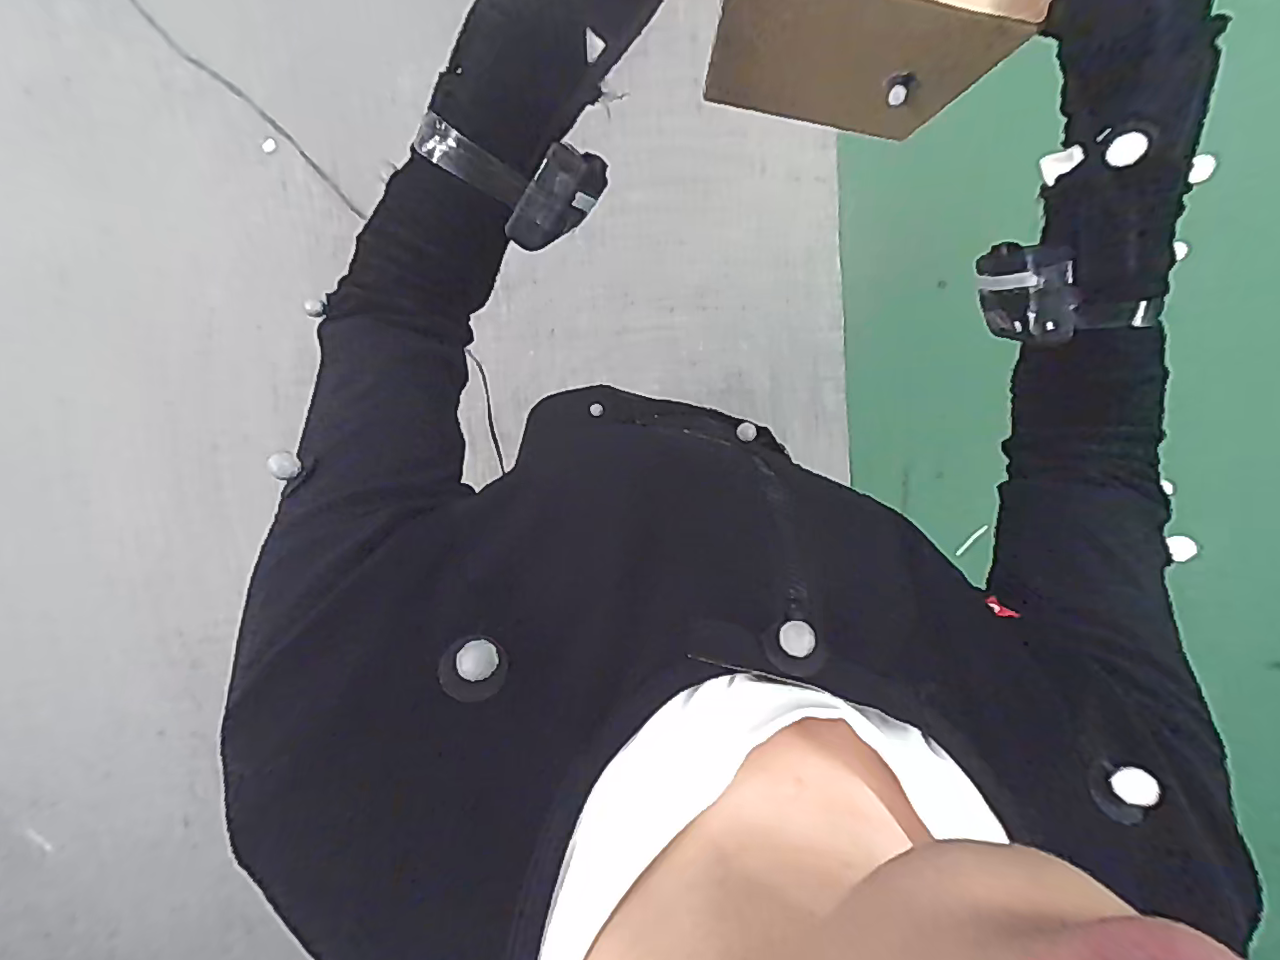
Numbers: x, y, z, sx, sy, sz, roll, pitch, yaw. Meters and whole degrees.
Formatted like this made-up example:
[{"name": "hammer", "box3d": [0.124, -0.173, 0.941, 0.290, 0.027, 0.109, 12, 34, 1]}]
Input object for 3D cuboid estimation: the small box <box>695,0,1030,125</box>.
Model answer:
[{"name": "small box", "box3d": [0.140, -0.363, 0.354, 0.179, 0.176, 0.168, 9, 102, -1]}]
